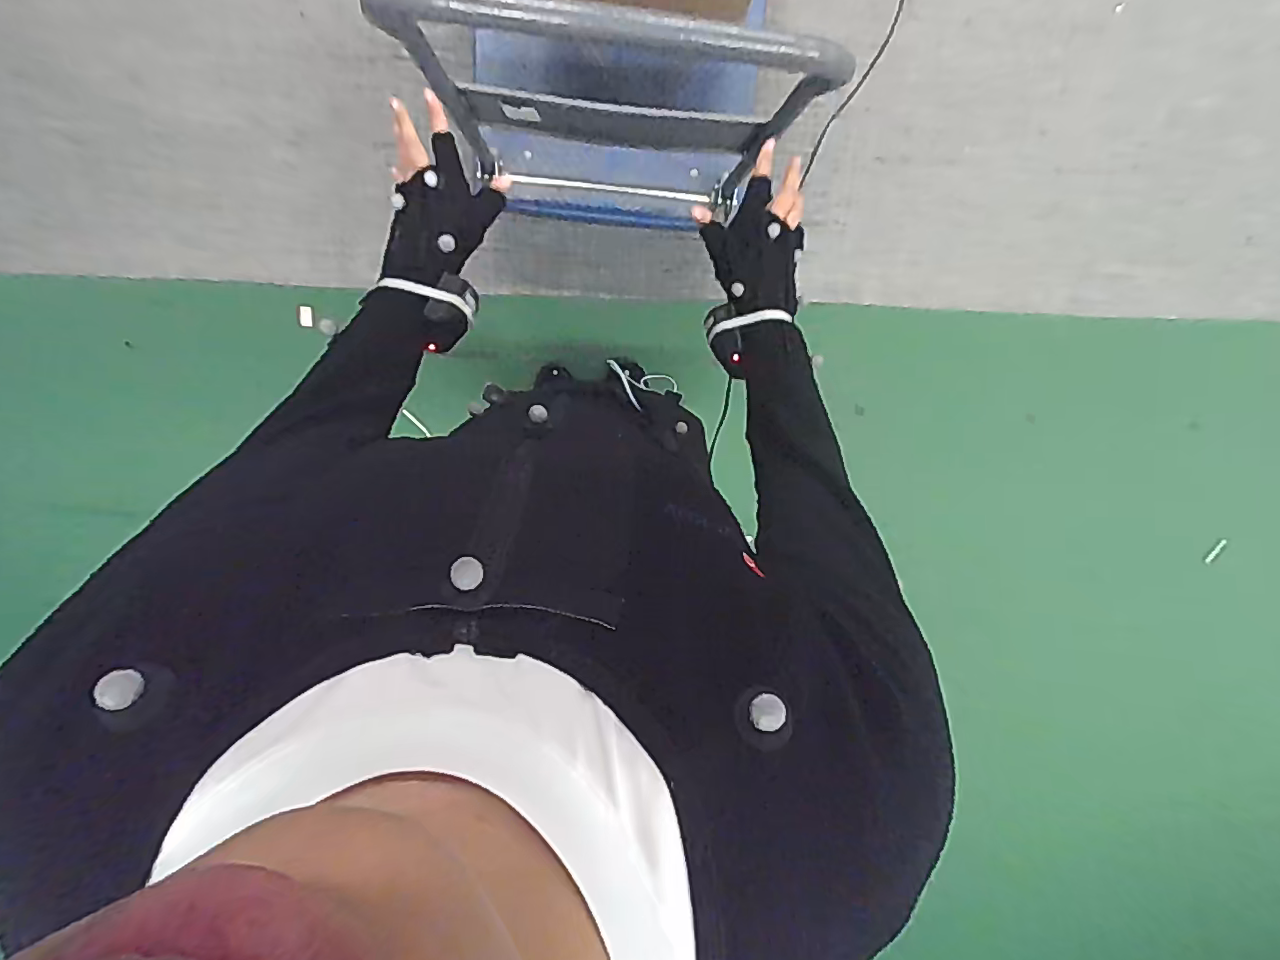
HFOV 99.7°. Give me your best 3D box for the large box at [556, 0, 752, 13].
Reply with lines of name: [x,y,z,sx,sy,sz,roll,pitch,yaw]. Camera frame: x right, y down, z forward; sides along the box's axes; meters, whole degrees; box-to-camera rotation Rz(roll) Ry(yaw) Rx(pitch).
large box: [0.032,-1.047,0.897,0.408,0.320,0.320,2,104,-3]
